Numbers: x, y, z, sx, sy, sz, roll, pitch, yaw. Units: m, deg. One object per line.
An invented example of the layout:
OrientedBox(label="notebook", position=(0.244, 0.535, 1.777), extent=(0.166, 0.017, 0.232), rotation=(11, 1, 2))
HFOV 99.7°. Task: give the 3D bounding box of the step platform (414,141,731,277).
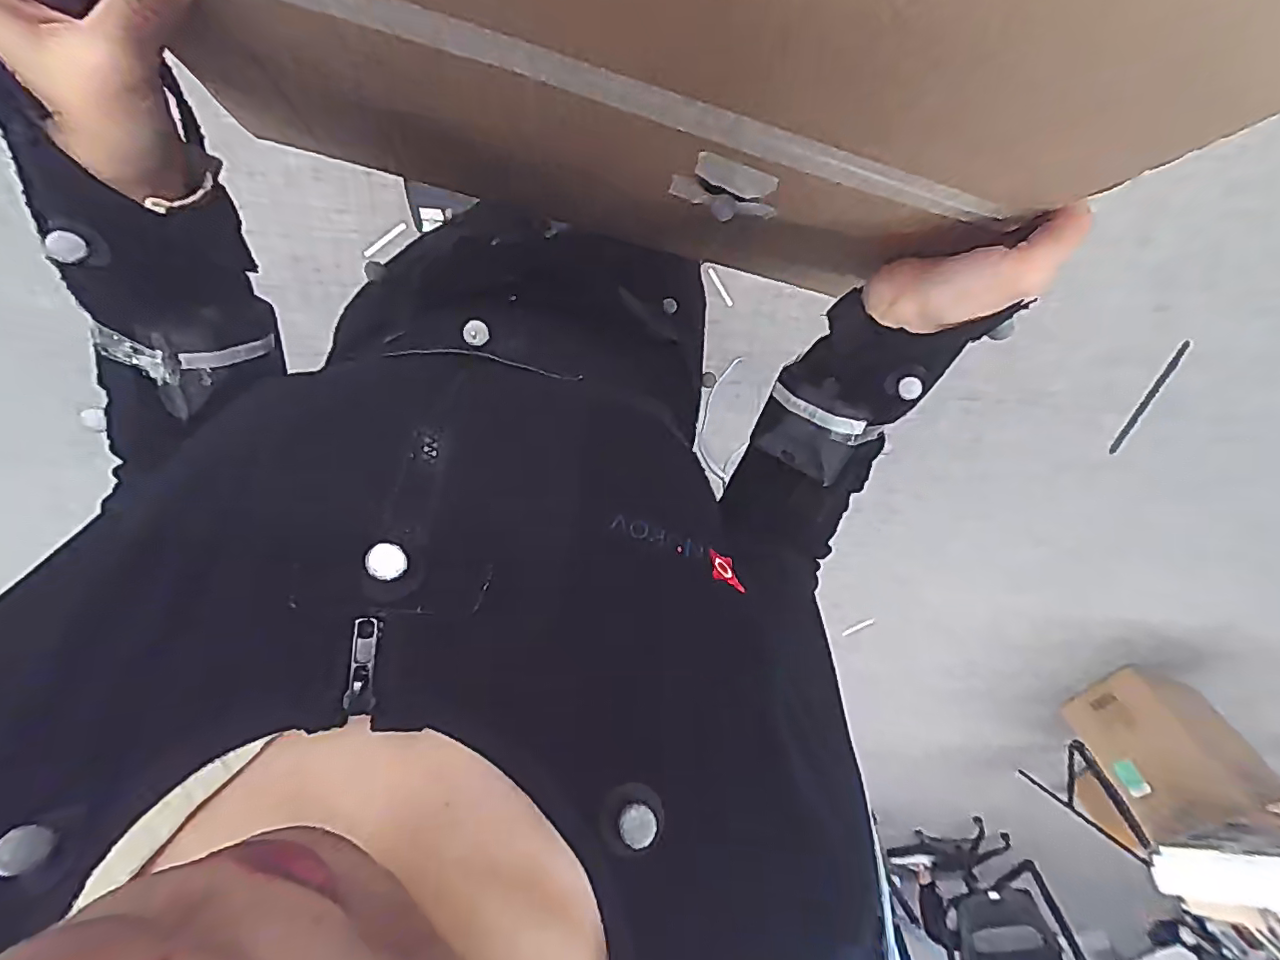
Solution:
OrientedBox(label="step platform", position=(-0.124, -0.661, 1.176), extent=(0.684, 0.204, 0.286), rotation=(8, 125, -9))

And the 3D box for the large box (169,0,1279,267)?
OrientedBox(label="large box", position=(0.030, -0.317, 0.183), extent=(0.408, 0.320, 0.320), rotation=(10, 93, -11))
